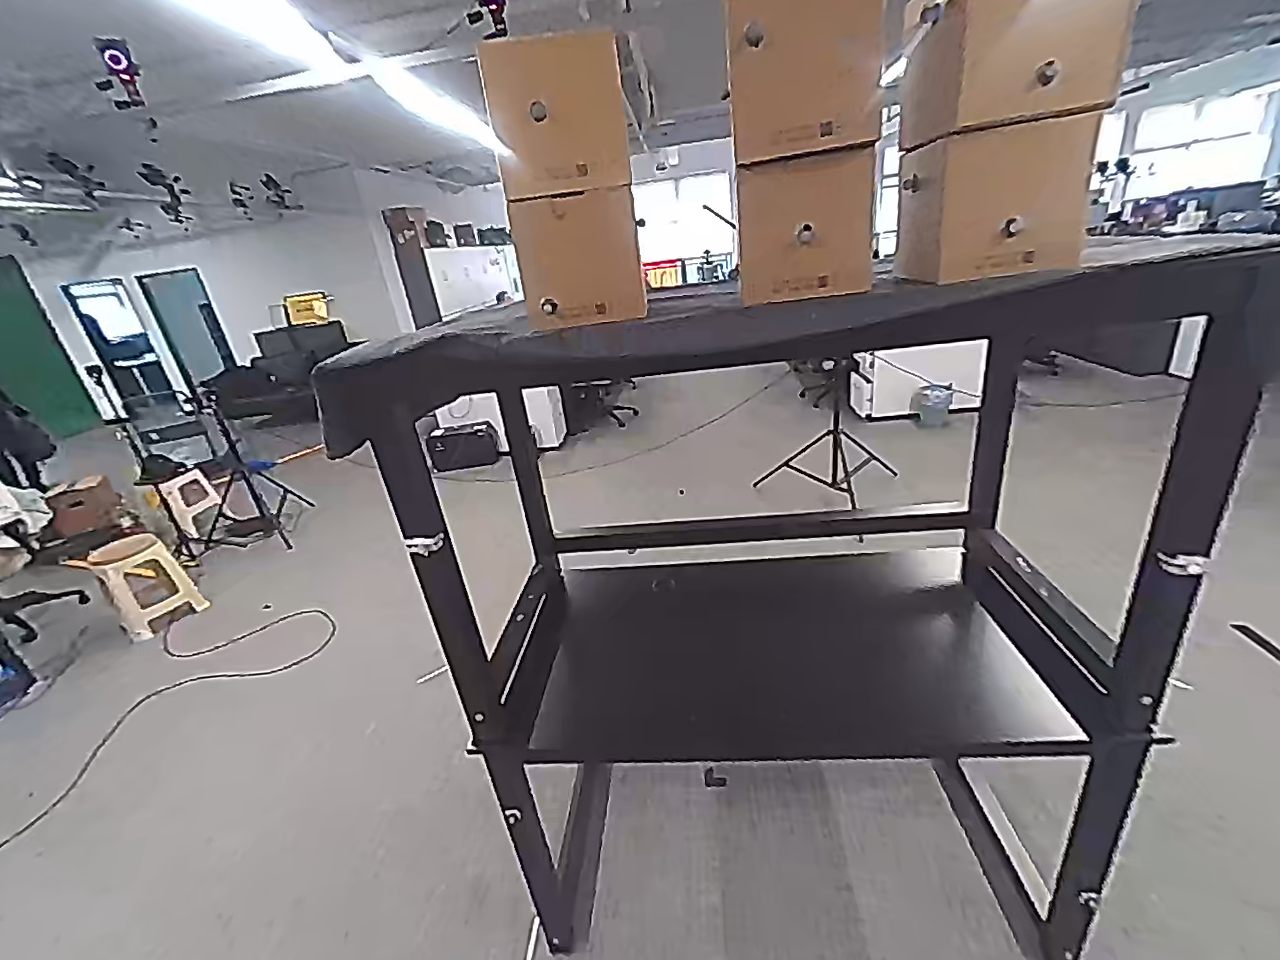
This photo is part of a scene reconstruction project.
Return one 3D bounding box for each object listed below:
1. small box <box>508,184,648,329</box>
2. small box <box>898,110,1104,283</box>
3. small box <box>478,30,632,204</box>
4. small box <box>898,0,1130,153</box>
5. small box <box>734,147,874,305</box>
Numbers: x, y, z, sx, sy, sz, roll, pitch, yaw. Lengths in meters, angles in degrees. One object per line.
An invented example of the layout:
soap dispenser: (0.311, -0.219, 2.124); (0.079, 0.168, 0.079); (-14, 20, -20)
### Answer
small box: (-0.079, -0.322, 0.801); (0.168, 0.176, 0.179); (-6, 21, 4)
small box: (0.453, -0.360, 0.715); (0.168, 0.176, 0.179); (-5, 23, 9)
small box: (-0.107, -0.470, 0.739); (0.168, 0.176, 0.179); (-9, 22, -3)
small box: (0.432, -0.508, 0.640); (0.179, 0.176, 0.168); (-5, 22, 4)
small box: (0.220, -0.342, 0.753); (0.168, 0.176, 0.179); (-3, 23, 10)
